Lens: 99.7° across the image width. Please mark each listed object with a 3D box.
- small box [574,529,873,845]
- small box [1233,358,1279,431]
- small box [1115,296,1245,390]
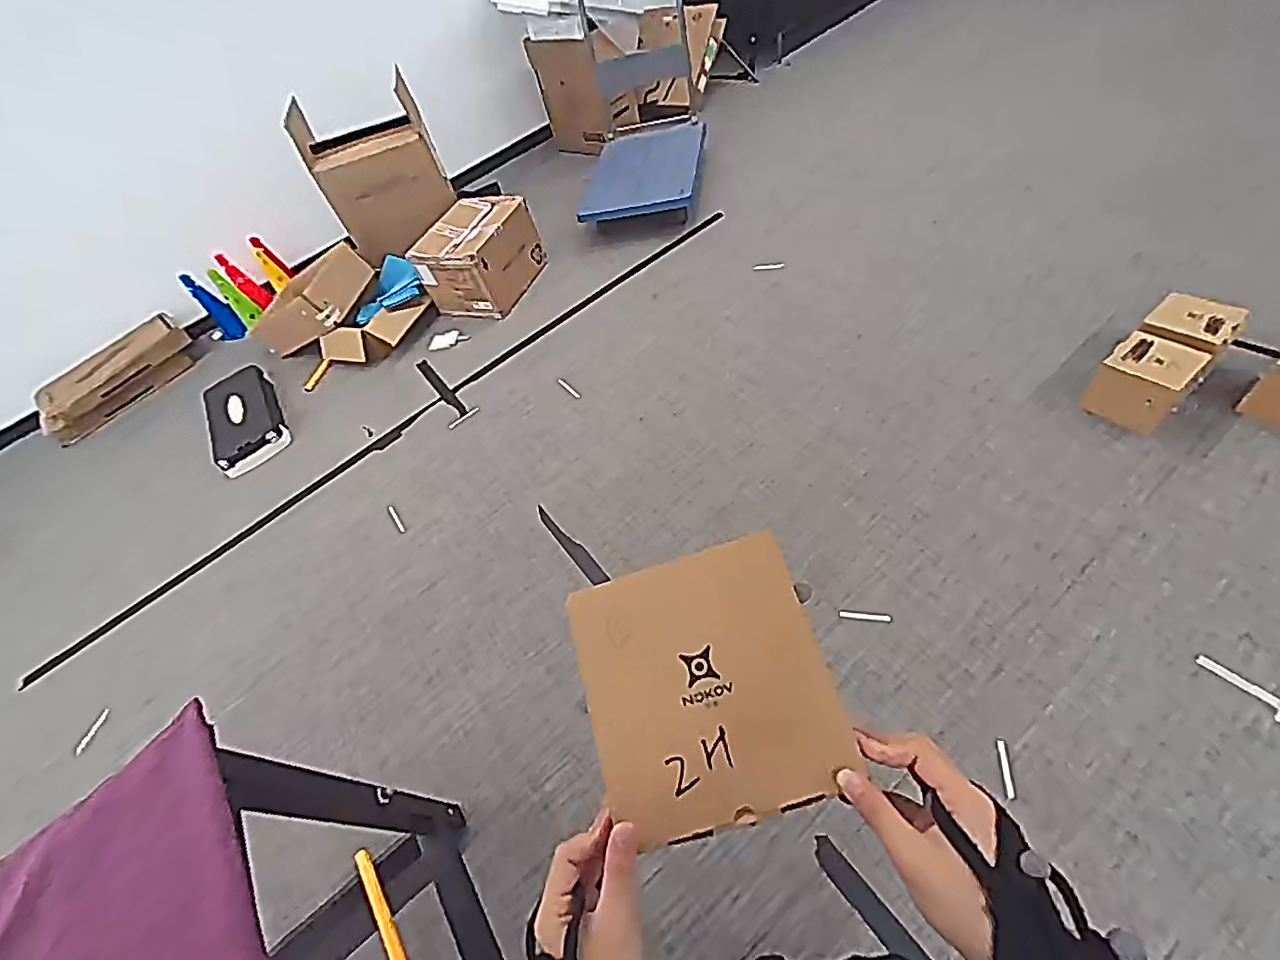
[{"bbox_3d":[0.062,0.170,0.449,0.168,0.176,0.179,-21,62,3],"label":"small box"},{"bbox_3d":[1.680,-0.228,1.355,0.168,0.176,0.179,-37,51,-12],"label":"small box"},{"bbox_3d":[1.511,-0.382,1.524,0.168,0.176,0.179,-38,51,-13],"label":"small box"}]
